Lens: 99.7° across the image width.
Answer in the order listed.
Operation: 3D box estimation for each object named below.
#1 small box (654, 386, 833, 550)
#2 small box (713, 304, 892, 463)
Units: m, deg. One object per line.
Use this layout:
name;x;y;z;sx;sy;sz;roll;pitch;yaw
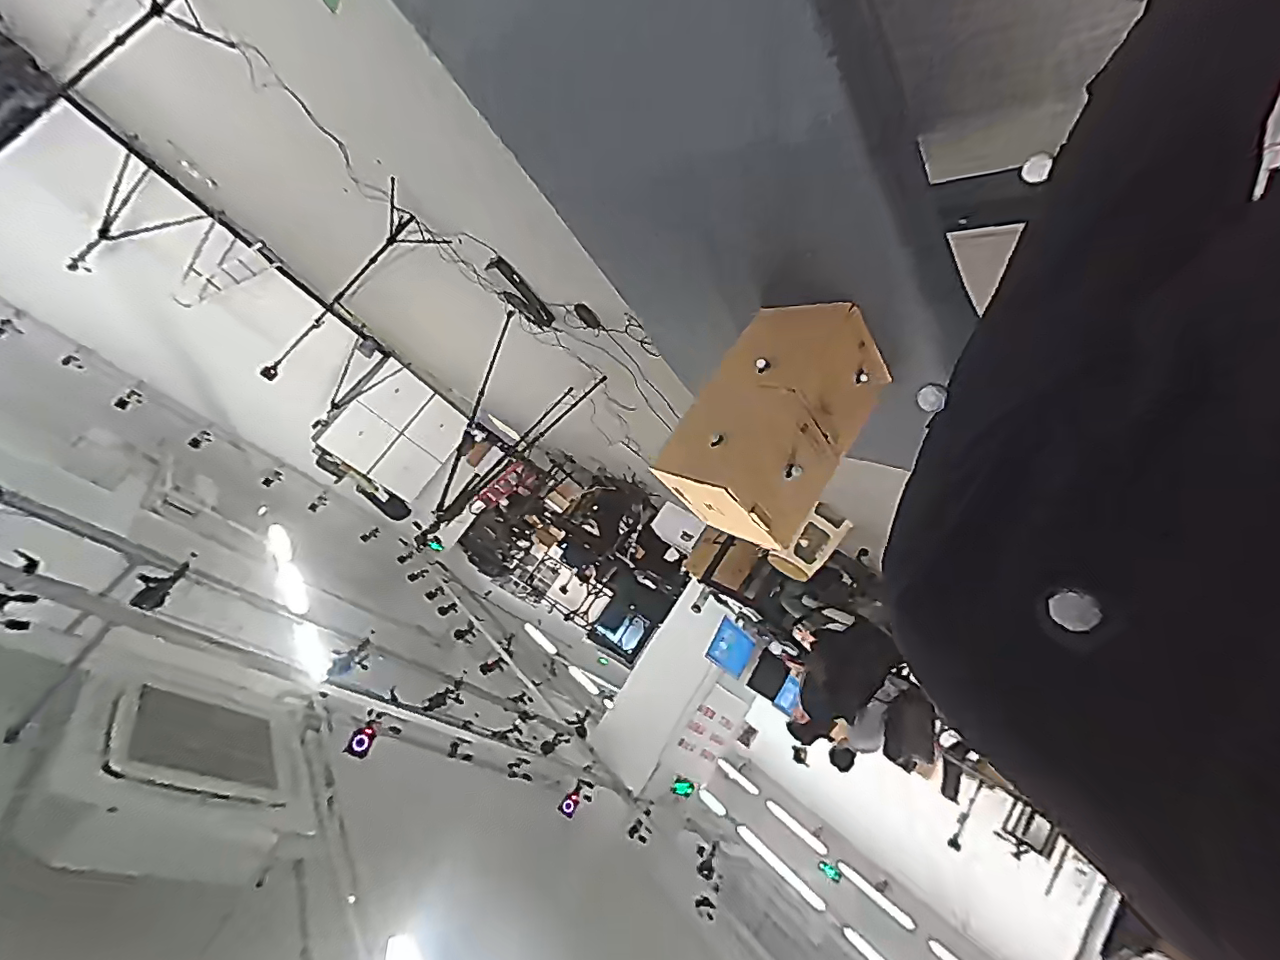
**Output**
small box;0.160;-0.025;0.803;0.168;0.176;0.179;44;164;-33
small box;0.254;-0.153;0.843;0.168;0.176;0.179;44;164;-34
